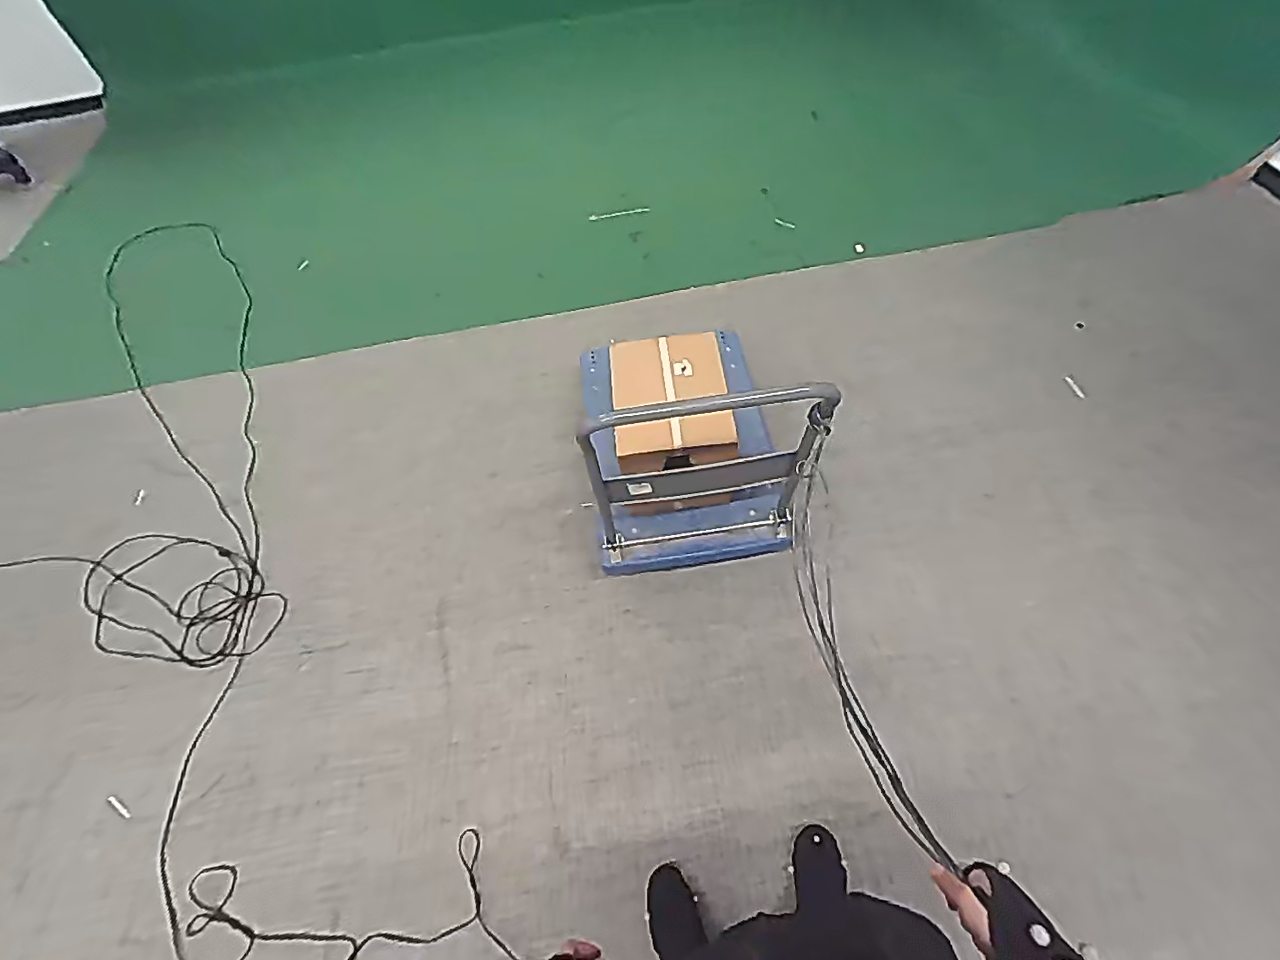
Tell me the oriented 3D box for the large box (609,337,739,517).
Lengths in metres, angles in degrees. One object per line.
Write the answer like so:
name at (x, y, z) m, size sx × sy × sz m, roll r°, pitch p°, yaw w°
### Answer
large box at (0.094, -0.150, 1.581) m, size 0.320 × 0.320 × 0.408 m, roll -6°, pitch 57°, yaw 1°
